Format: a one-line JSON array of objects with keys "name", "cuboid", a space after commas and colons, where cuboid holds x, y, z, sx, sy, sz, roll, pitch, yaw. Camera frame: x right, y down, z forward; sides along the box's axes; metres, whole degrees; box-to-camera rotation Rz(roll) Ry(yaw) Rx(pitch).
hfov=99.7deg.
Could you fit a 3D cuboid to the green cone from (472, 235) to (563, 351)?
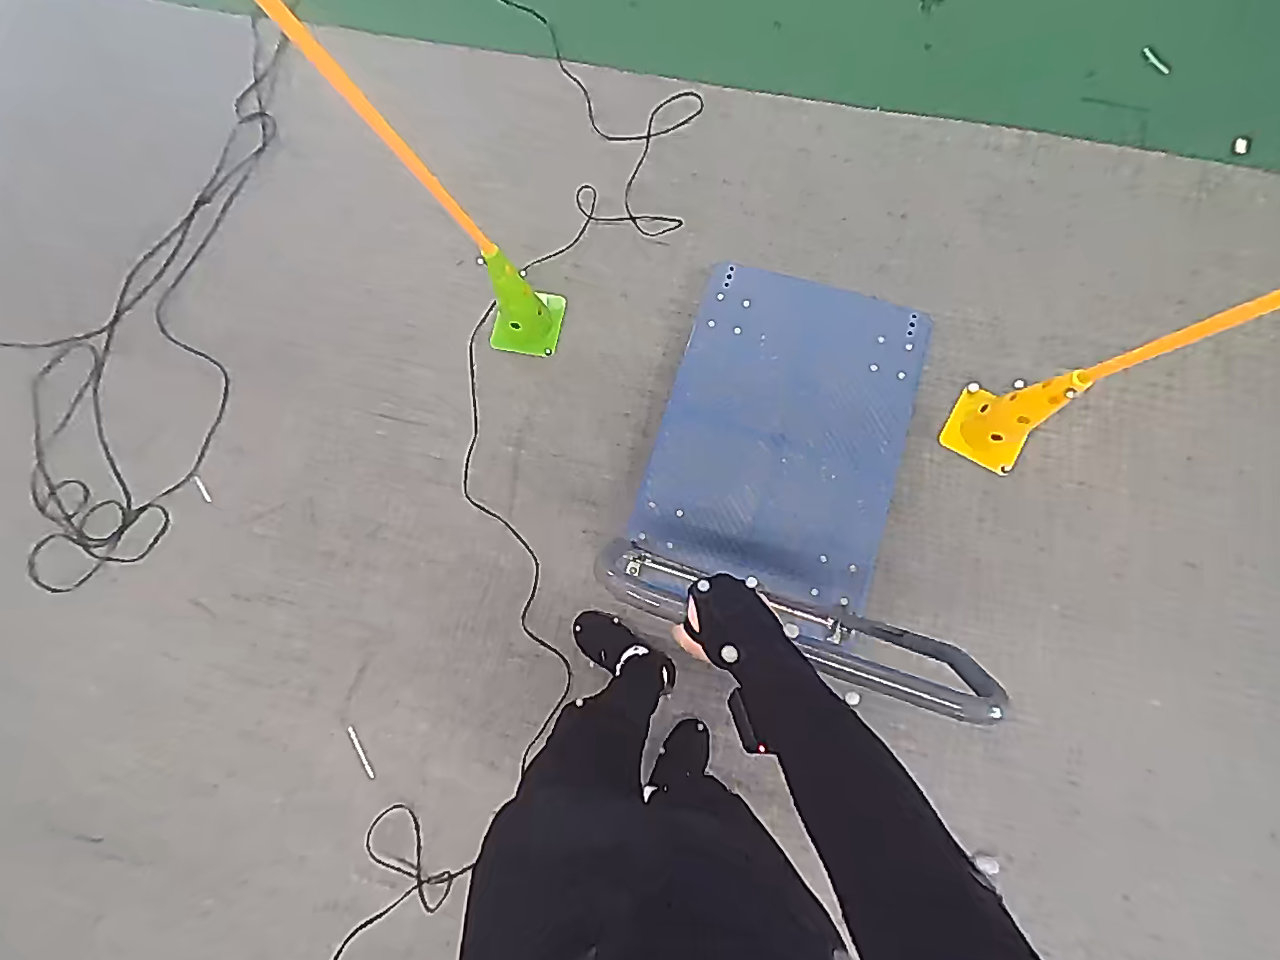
[{"name": "green cone", "cuboid": [-0.354, -0.520, 1.434, 0.202, 0.368, 0.200, 9, 78, 7]}]
